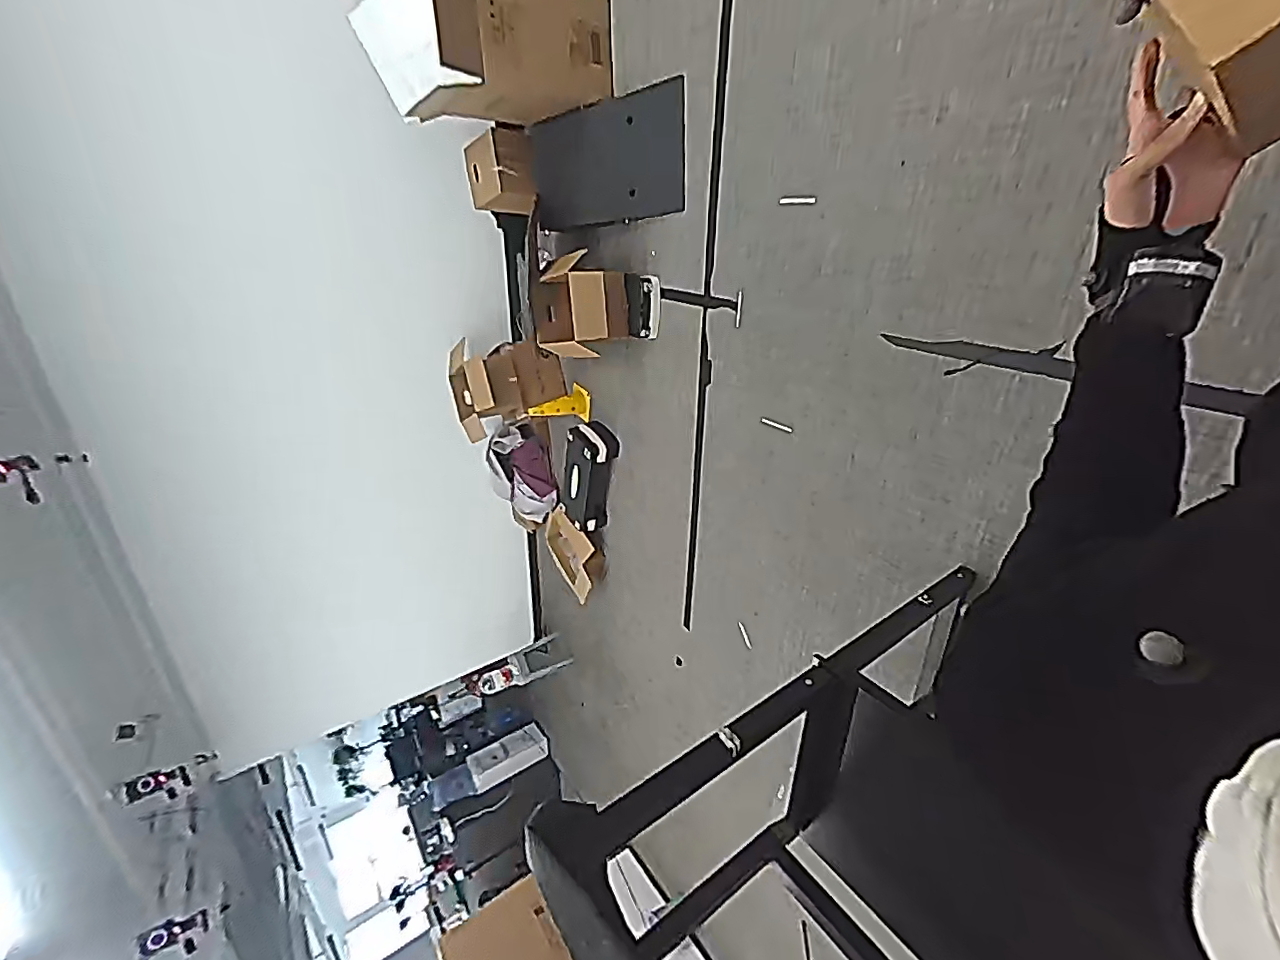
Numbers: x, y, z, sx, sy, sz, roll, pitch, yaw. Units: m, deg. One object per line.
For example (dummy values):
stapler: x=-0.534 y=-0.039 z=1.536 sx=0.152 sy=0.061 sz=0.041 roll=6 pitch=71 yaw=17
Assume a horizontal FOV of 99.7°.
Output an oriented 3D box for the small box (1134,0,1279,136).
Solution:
small box: x=0.417 y=-0.347 z=0.324 sx=0.168 sy=0.176 sz=0.179 roll=-33 pitch=66 yaw=49

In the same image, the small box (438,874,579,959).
small box: x=-0.195 y=0.783 z=0.848 sx=0.168 sy=0.176 sz=0.179 roll=30 pitch=129 yaw=46
